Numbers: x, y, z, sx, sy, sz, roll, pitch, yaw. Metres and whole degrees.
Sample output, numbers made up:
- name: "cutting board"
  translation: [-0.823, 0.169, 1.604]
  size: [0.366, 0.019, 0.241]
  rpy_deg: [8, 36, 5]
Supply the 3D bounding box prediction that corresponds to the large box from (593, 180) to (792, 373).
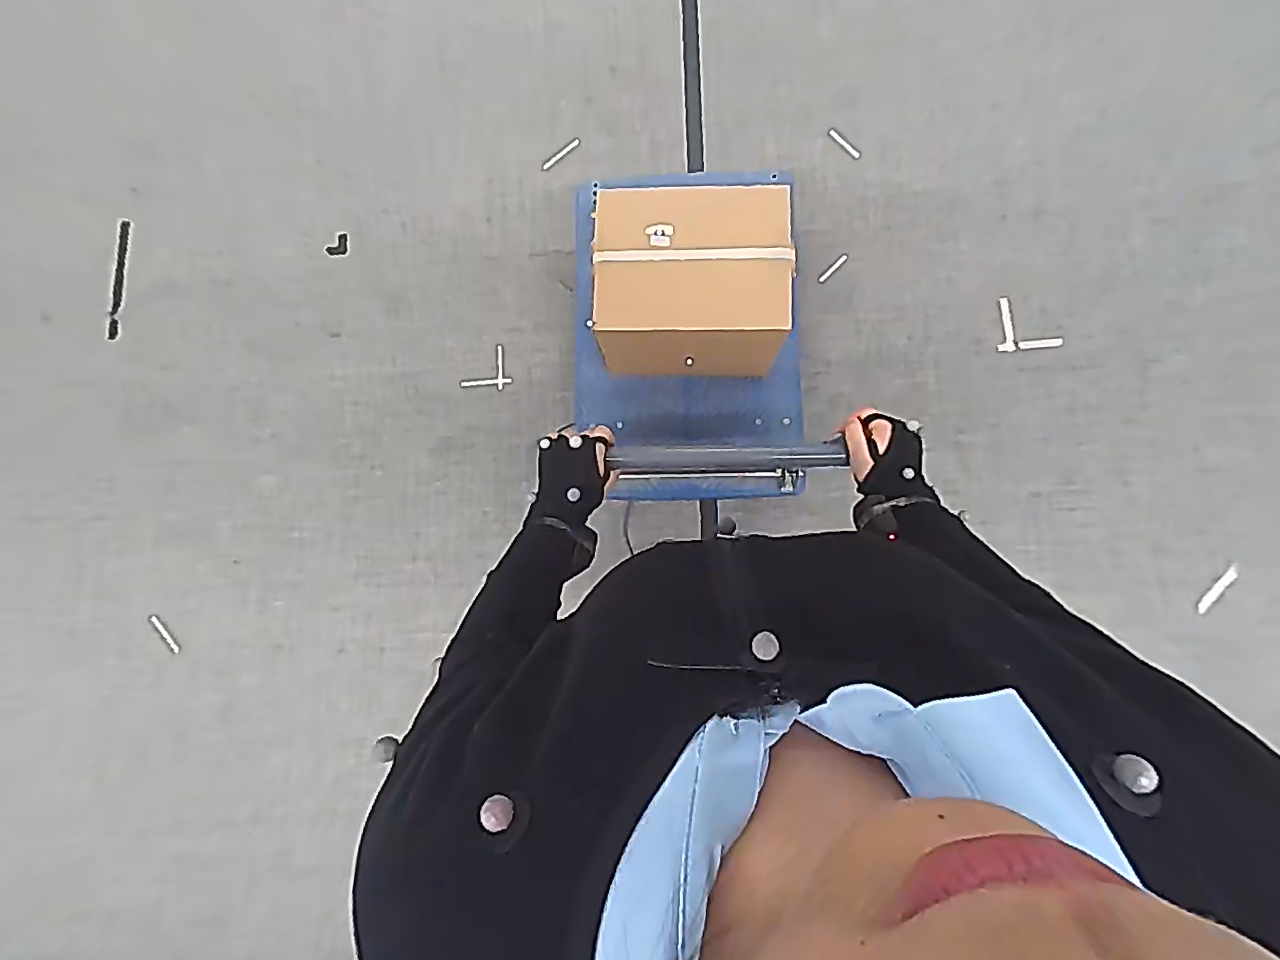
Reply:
- name: "large box"
  translation: [0.118, -0.440, 1.244]
  size: [0.408, 0.320, 0.320]
  rpy_deg: [0, 83, 5]
